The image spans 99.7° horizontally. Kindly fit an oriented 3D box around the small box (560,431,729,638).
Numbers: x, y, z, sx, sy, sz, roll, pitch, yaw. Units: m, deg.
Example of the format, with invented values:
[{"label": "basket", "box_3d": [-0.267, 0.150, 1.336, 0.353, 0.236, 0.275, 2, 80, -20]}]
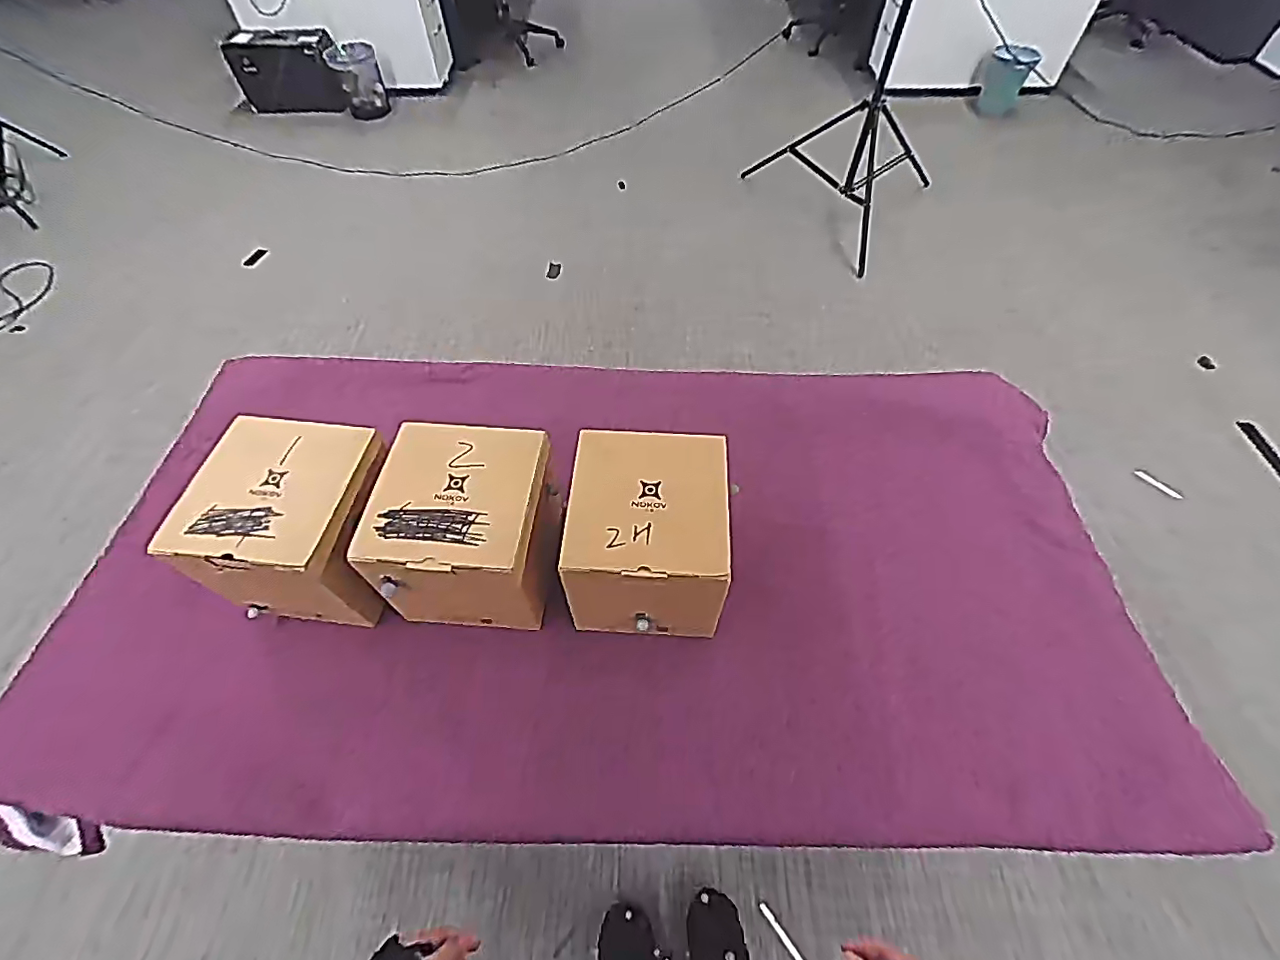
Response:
[{"label": "small box", "box_3d": [0.009, 0.065, 0.626, 0.168, 0.176, 0.179, 2, 55, 3]}]
